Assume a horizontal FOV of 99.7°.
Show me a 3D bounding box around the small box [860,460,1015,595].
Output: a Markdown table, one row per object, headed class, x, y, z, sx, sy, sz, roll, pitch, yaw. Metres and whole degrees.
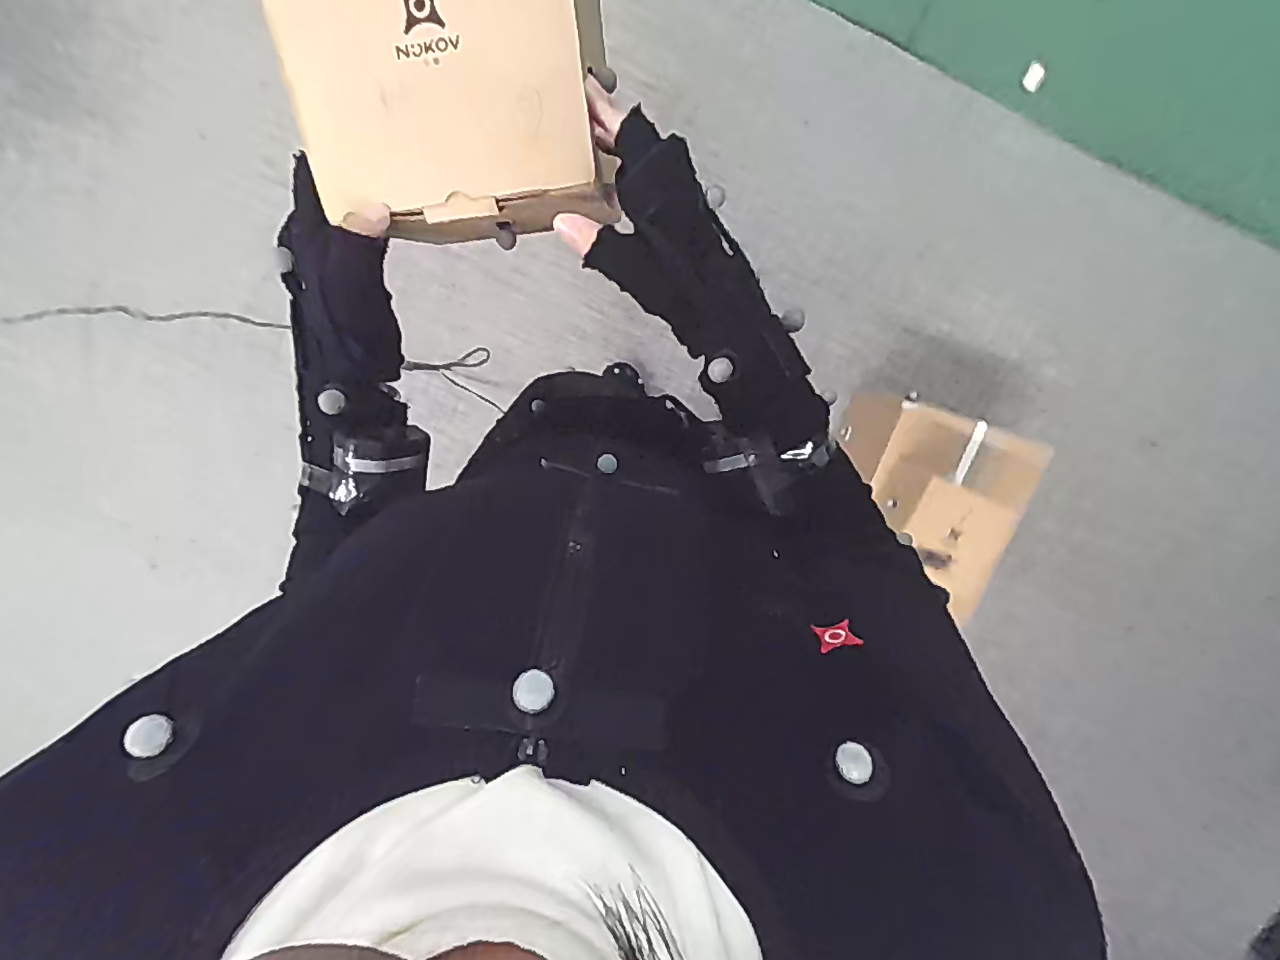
| class | x | y | z | sx | sy | sz | roll | pitch | yaw |
| --- | --- | --- | --- | --- | --- | --- | --- | --- | --- |
| small box | 0.543 | 0.081 | 1.021 | 0.168 | 0.176 | 0.179 | 25 | 102 | -1 |
